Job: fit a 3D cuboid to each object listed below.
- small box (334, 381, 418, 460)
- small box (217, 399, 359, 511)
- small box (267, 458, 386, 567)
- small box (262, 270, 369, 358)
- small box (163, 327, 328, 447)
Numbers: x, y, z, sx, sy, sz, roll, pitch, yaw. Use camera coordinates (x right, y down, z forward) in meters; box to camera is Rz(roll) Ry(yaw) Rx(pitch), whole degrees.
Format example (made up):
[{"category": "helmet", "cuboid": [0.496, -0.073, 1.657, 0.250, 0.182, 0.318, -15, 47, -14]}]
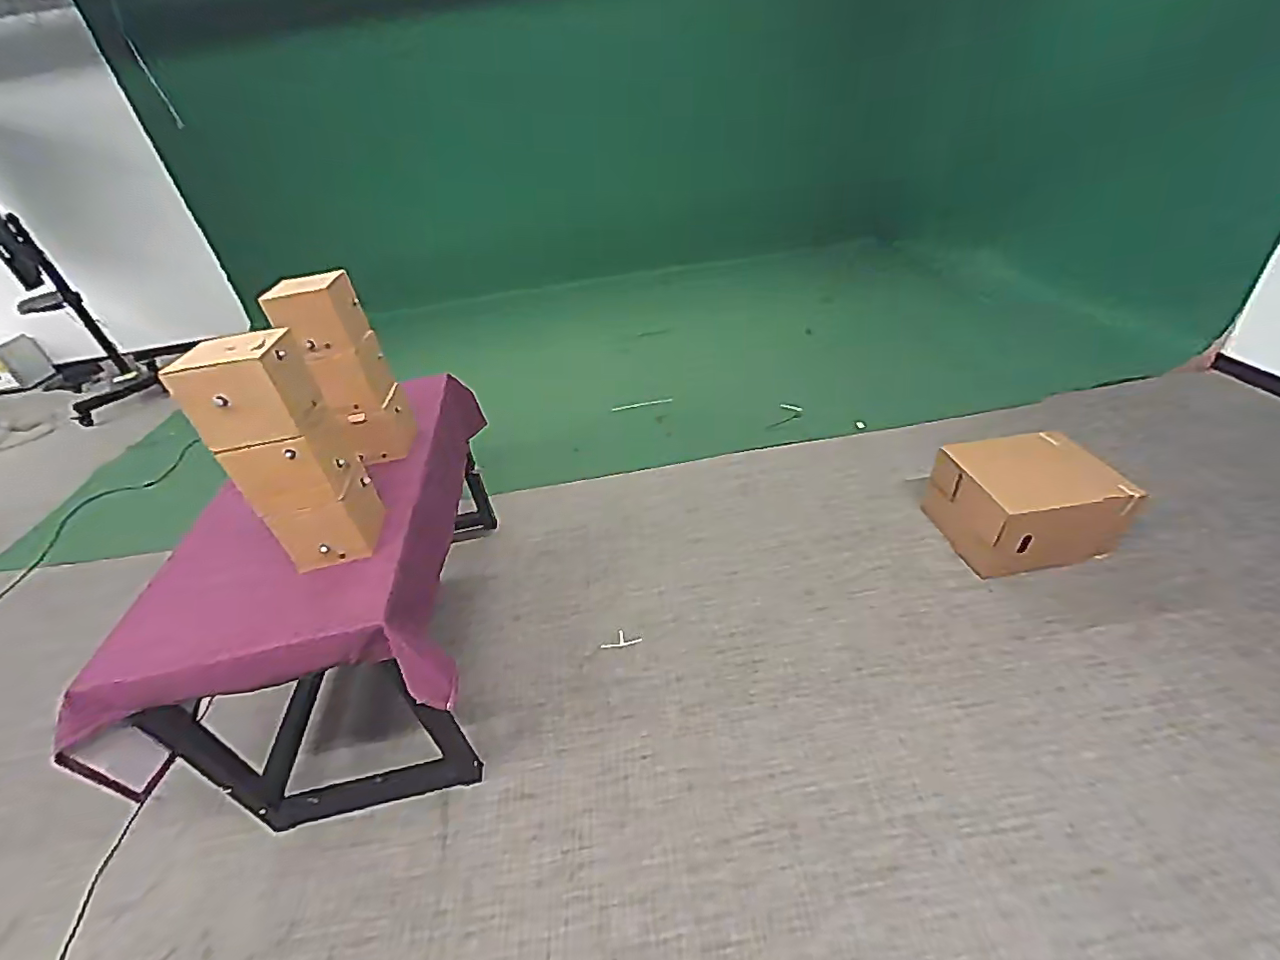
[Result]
[{"category": "small box", "cuboid": [-0.782, -0.171, 1.610, 0.168, 0.176, 0.179, -10, 36, -2]}, {"category": "small box", "cuboid": [-0.747, -0.052, 1.171, 0.179, 0.176, 0.168, -11, 36, -5]}, {"category": "small box", "cuboid": [-0.722, 0.075, 1.270, 0.168, 0.176, 0.179, -12, 36, -4]}, {"category": "small box", "cuboid": [-0.840, -0.435, 1.424, 0.168, 0.176, 0.179, -12, 37, -3]}, {"category": "small box", "cuboid": [-0.766, -0.183, 1.073, 0.179, 0.176, 0.168, -12, 37, -4]}]
